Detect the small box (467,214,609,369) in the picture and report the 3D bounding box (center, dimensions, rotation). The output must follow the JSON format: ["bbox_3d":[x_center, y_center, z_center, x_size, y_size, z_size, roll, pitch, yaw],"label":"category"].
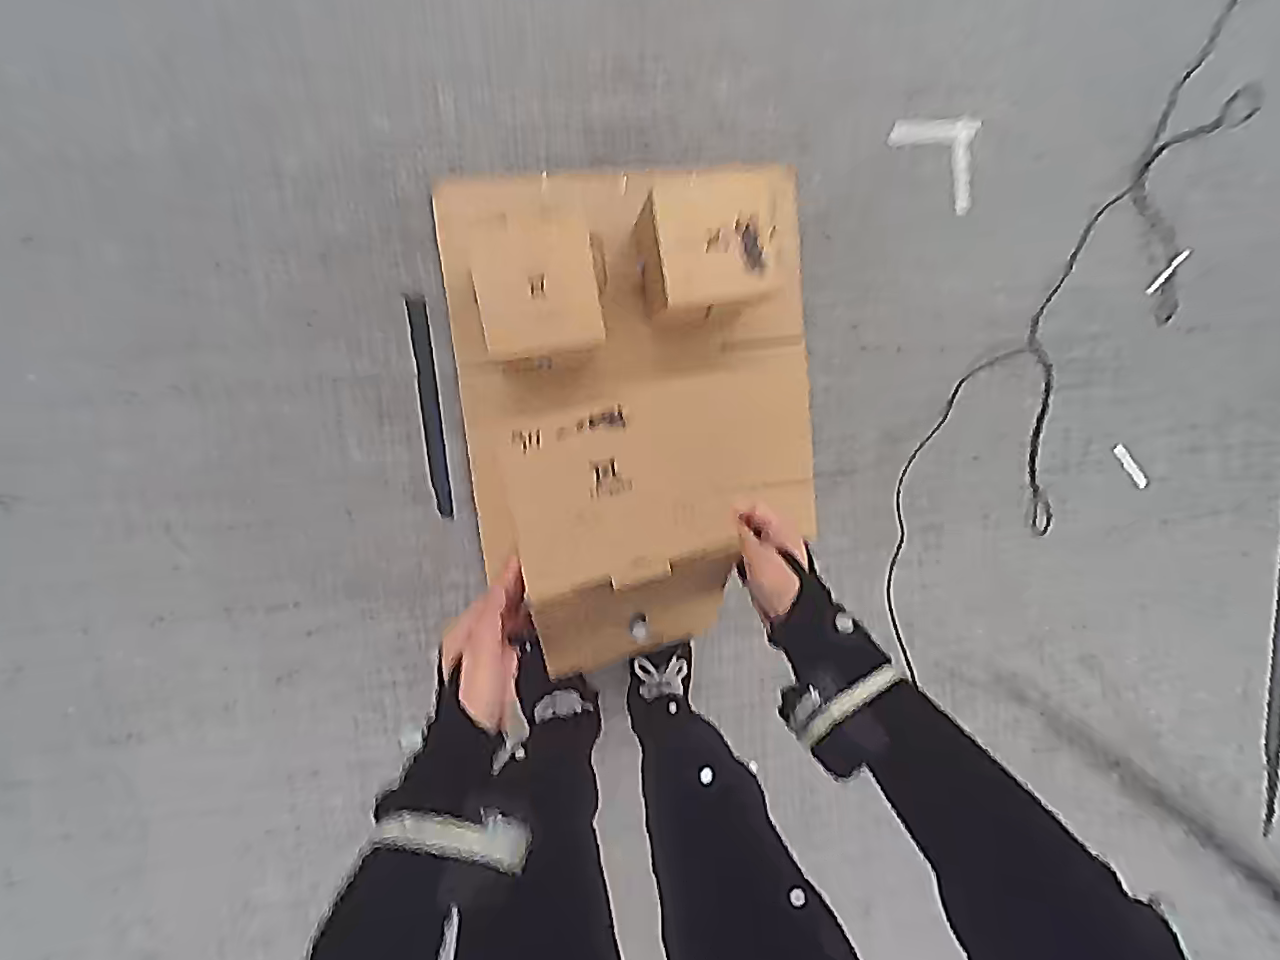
[{"bbox_3d":[-0.150,-0.273,0.817,0.168,0.176,0.179,-12,99,-7],"label":"small box"}]

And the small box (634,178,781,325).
[{"bbox_3d":[0.098,-0.347,0.848,0.179,0.176,0.168,-11,98,-8],"label":"small box"}]
